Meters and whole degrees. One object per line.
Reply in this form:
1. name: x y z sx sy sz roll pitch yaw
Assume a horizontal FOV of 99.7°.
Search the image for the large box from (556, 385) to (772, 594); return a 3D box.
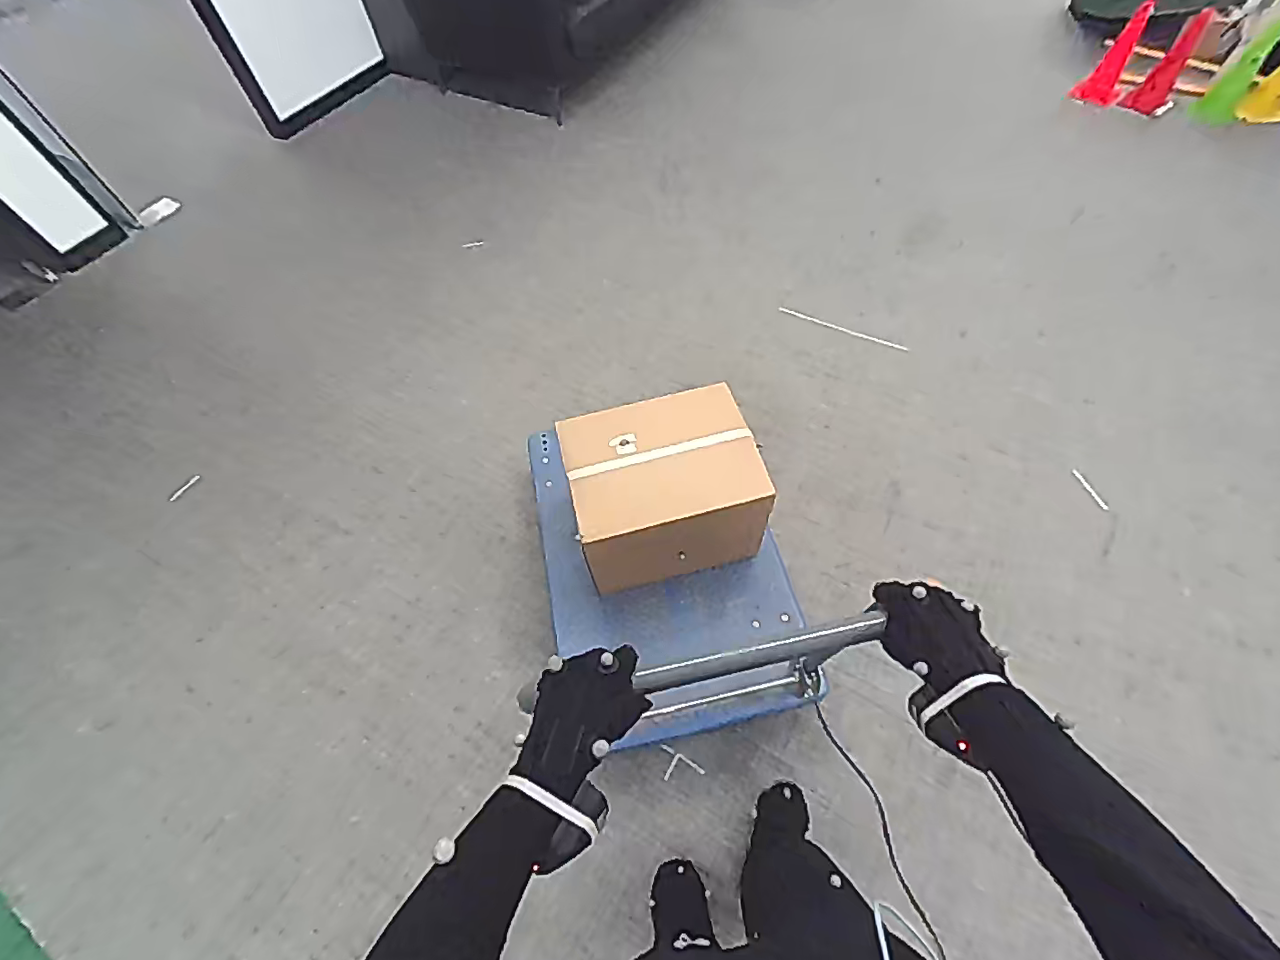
1. large box: 0.050 0.031 1.279 0.408 0.320 0.320 -15 58 -5
